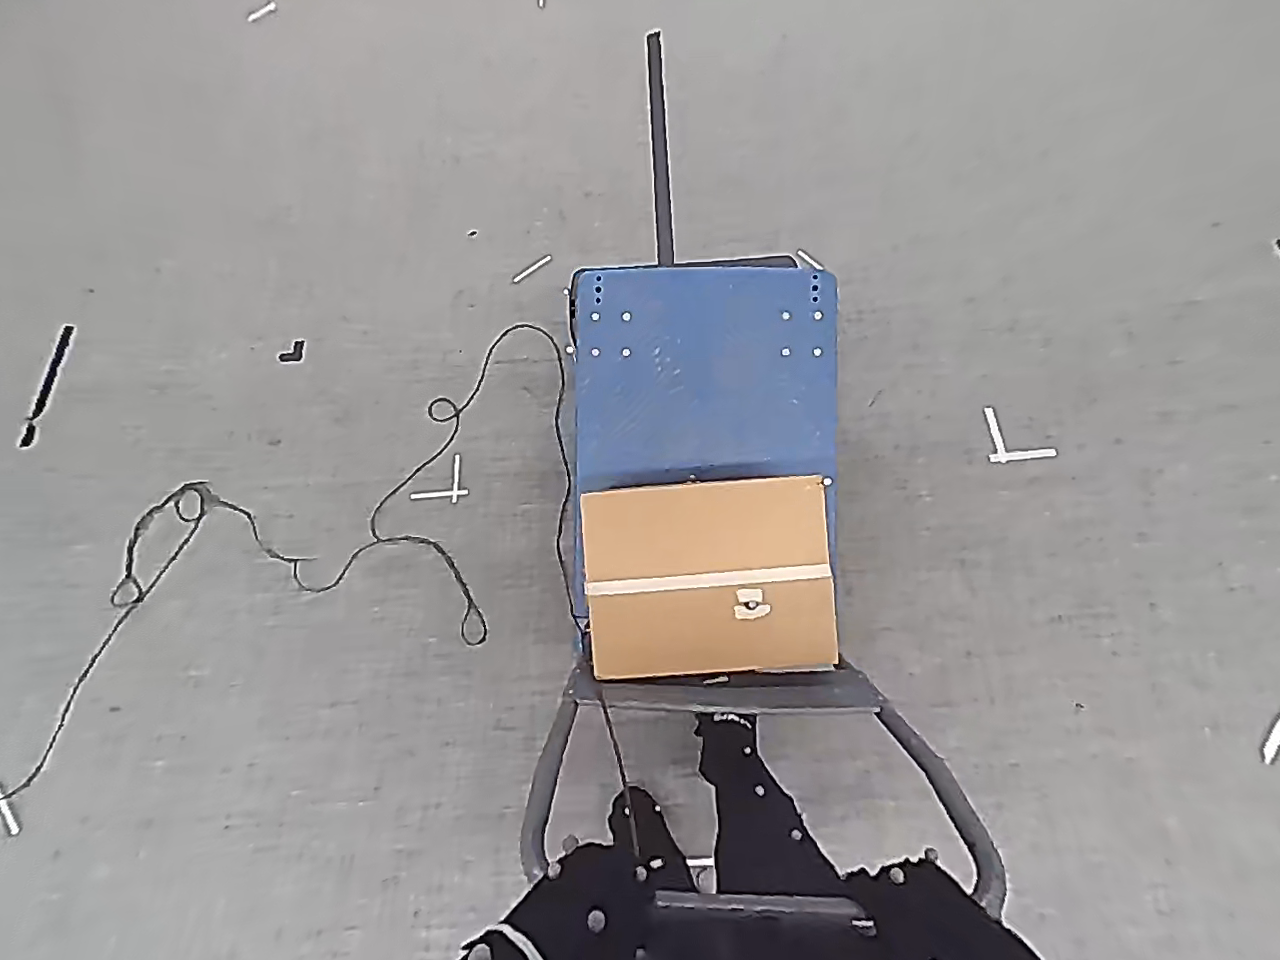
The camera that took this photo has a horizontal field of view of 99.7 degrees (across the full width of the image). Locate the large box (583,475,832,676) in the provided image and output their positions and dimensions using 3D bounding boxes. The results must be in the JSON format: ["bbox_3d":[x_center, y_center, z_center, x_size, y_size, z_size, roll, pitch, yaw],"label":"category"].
[{"bbox_3d":[0.114,0.165,1.064,0.408,0.320,0.320,-5,90,1],"label":"large box"}]
